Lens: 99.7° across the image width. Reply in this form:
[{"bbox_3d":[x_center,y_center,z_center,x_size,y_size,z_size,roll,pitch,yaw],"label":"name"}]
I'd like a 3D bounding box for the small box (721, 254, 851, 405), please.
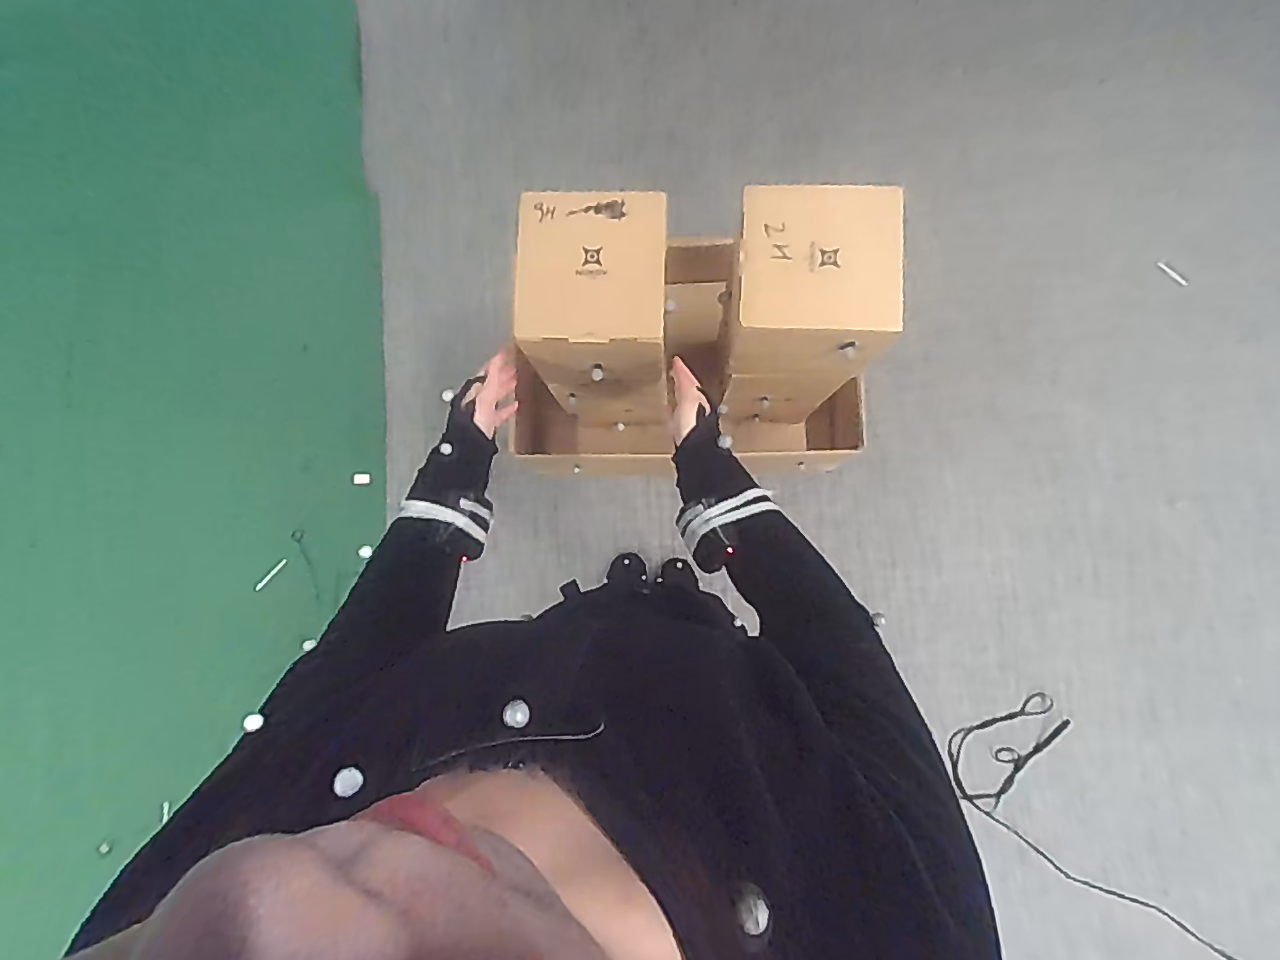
[{"bbox_3d":[0.213,-0.222,0.828,0.168,0.176,0.179,2,85,5],"label":"small box"}]
